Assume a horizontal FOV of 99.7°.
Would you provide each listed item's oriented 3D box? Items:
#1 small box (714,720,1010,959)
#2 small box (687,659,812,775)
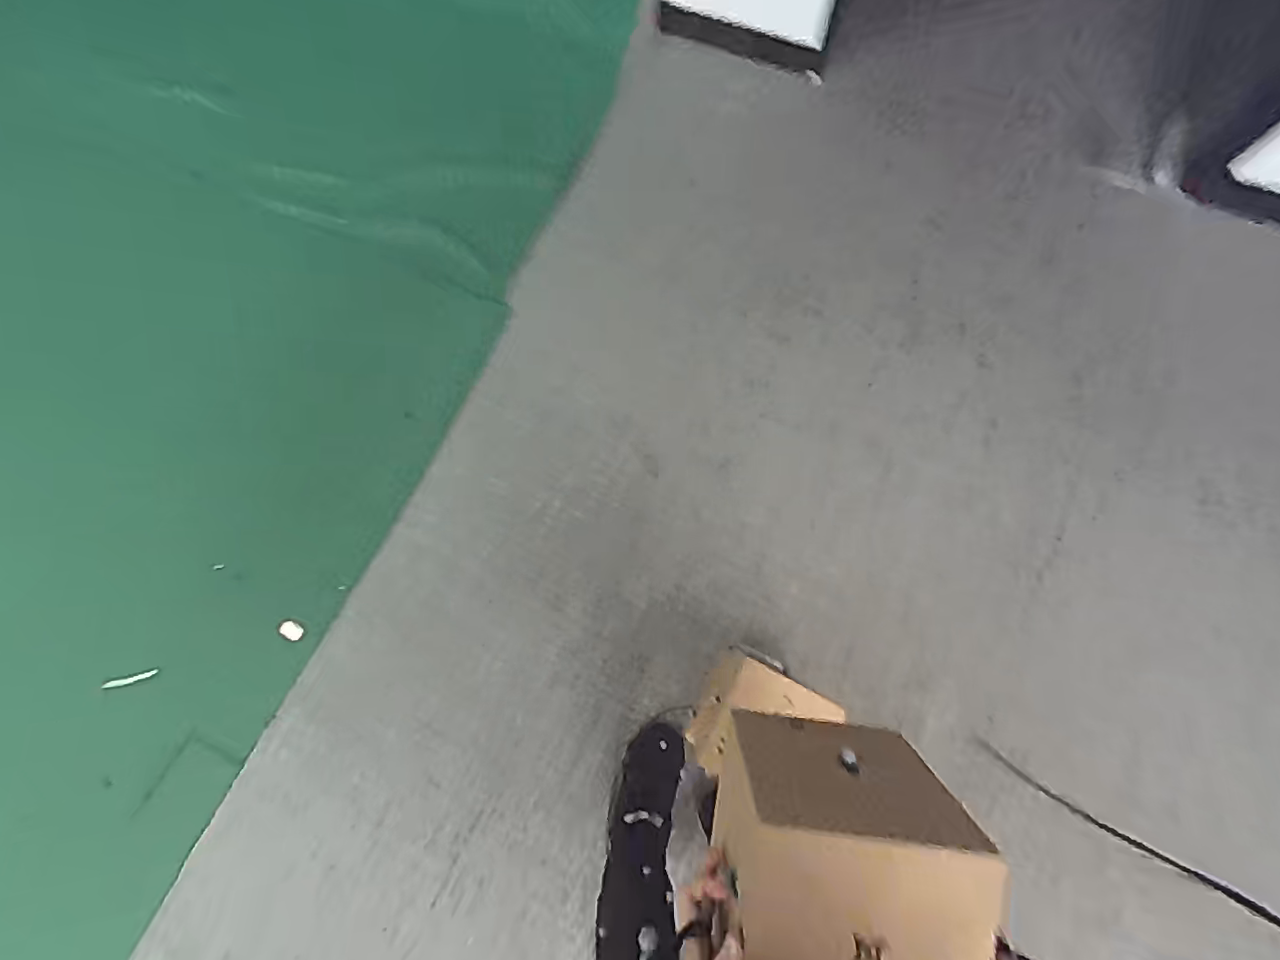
[{"bbox_3d":[0.157,0.325,0.443,0.168,0.176,0.179,7,94,3],"label":"small box"},{"bbox_3d":[0.200,0.466,1.046,0.168,0.176,0.179,32,80,10],"label":"small box"}]
